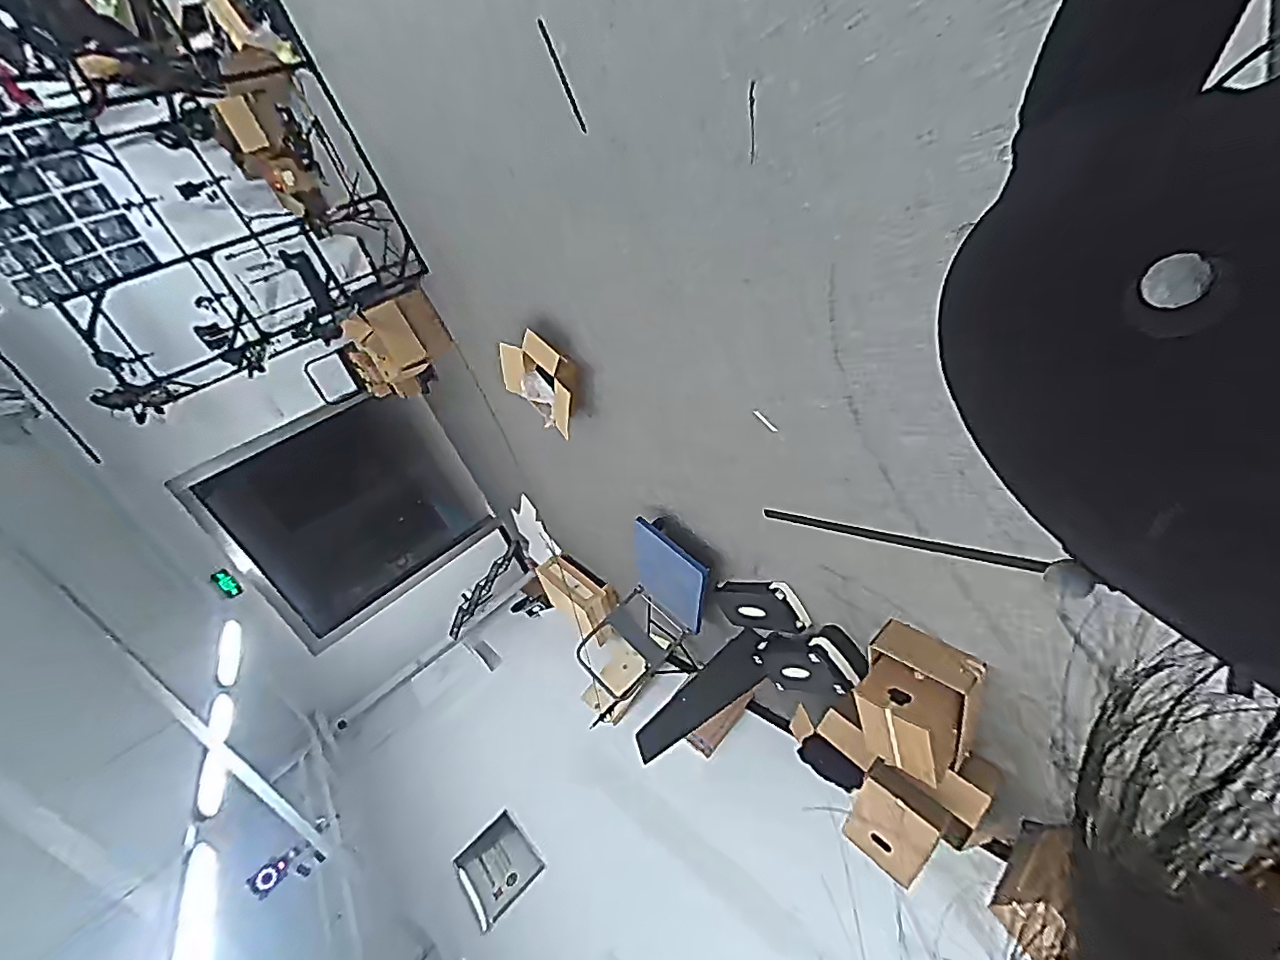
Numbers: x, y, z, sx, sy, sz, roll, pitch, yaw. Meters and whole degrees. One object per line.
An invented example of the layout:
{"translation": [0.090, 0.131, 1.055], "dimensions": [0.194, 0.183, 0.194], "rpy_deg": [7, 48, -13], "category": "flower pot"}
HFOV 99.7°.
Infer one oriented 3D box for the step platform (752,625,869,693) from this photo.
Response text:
{"translation": [0.903, 0.990, 2.959], "dimensions": [0.286, 0.204, 0.684], "rpy_deg": [51, 153, 3], "category": "step platform"}
